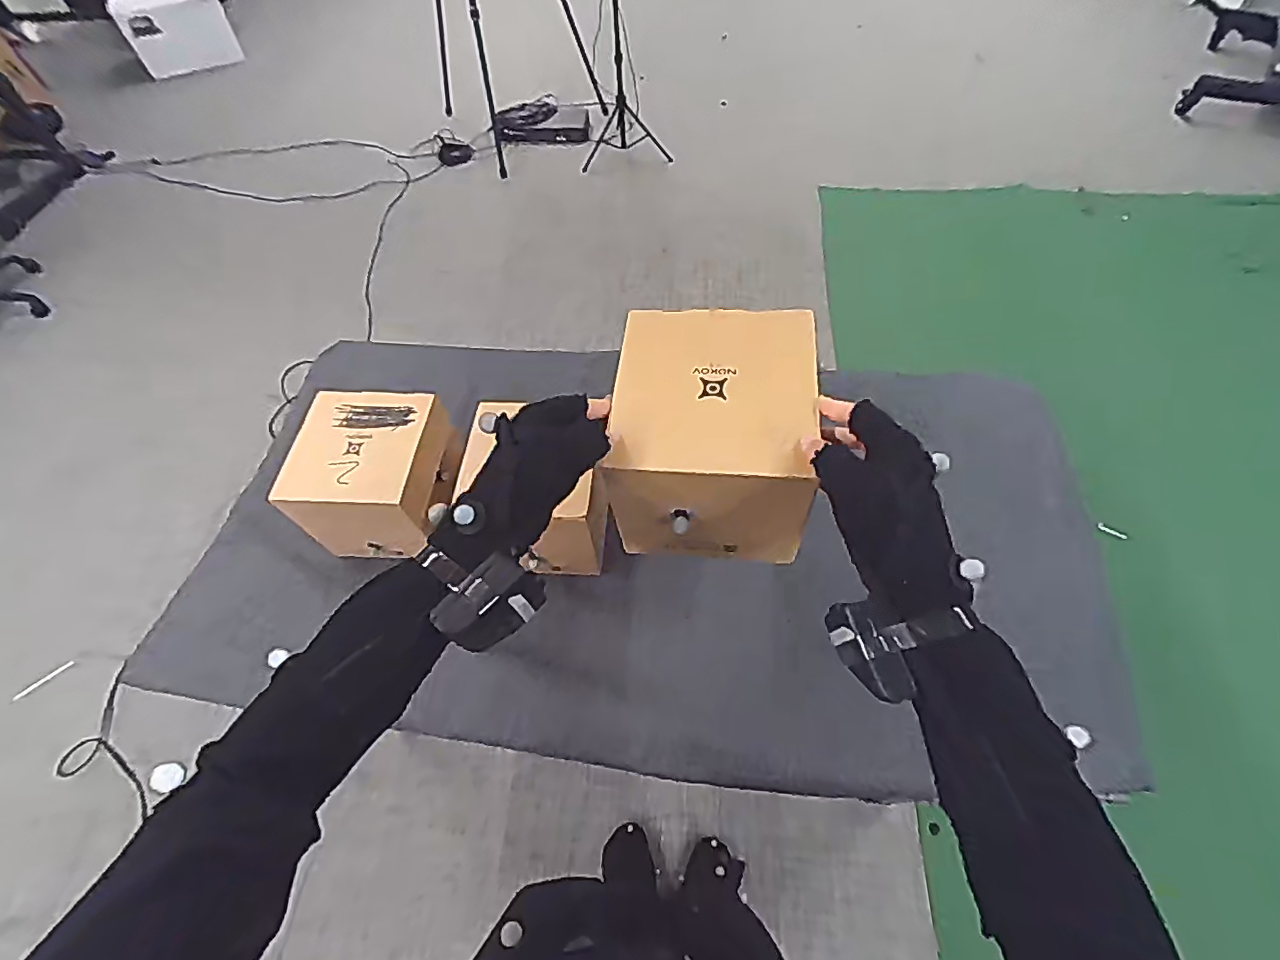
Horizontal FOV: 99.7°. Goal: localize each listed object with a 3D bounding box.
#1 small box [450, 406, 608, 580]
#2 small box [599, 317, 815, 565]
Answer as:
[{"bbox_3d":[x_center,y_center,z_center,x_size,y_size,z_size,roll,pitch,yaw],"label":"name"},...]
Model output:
[{"bbox_3d":[-0.135,0.020,0.740,0.168,0.176,0.179,2,57,4],"label":"small box"},{"bbox_3d":[0.067,-0.031,0.513,0.168,0.176,0.179,3,58,8],"label":"small box"}]
